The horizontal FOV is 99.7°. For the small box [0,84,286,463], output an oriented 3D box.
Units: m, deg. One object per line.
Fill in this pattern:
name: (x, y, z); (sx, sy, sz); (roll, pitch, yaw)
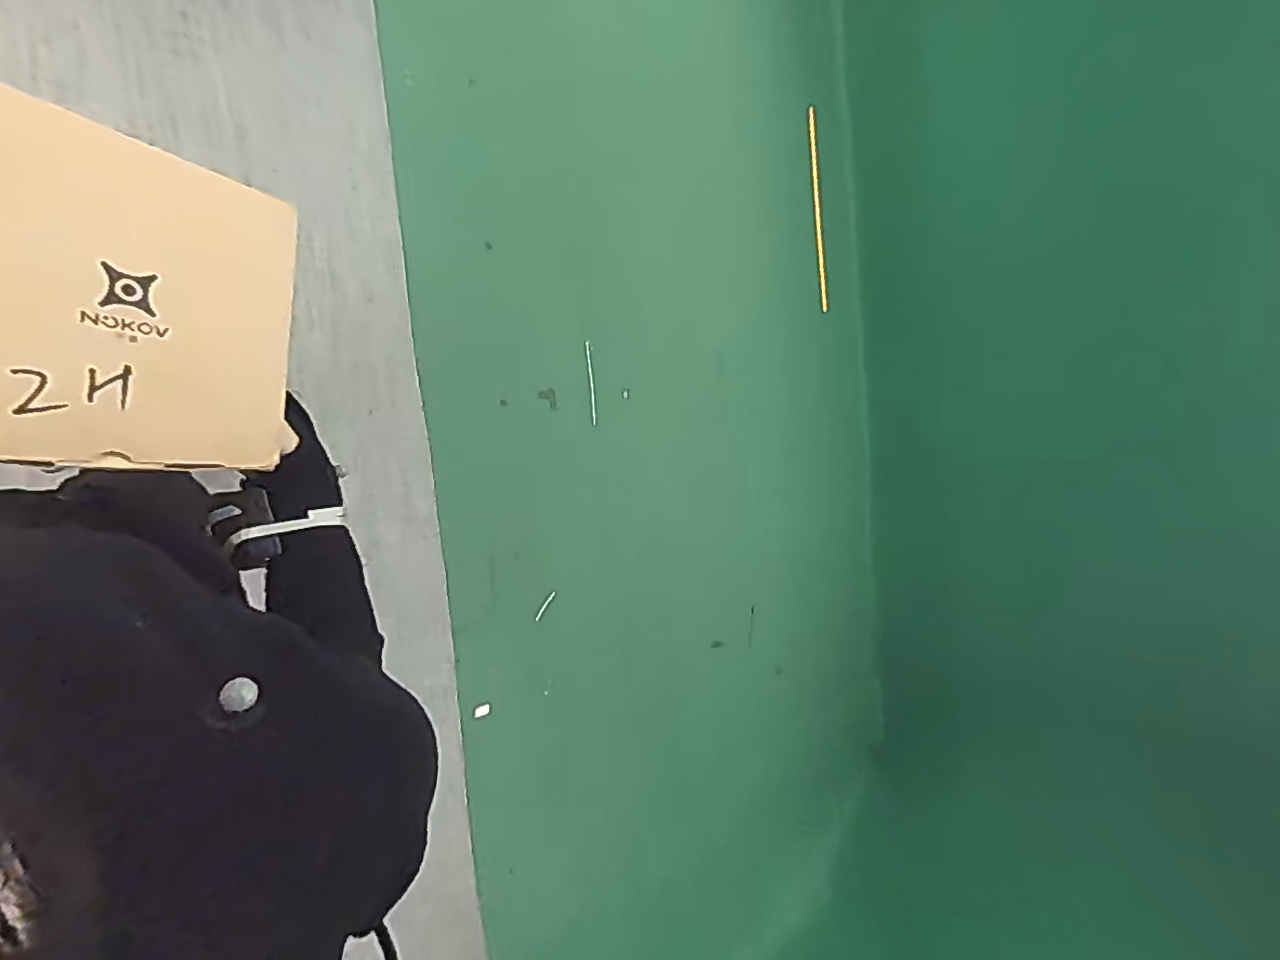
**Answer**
small box: (-0.355, -0.109, 0.332); (0.168, 0.176, 0.179); (0, 99, -61)
